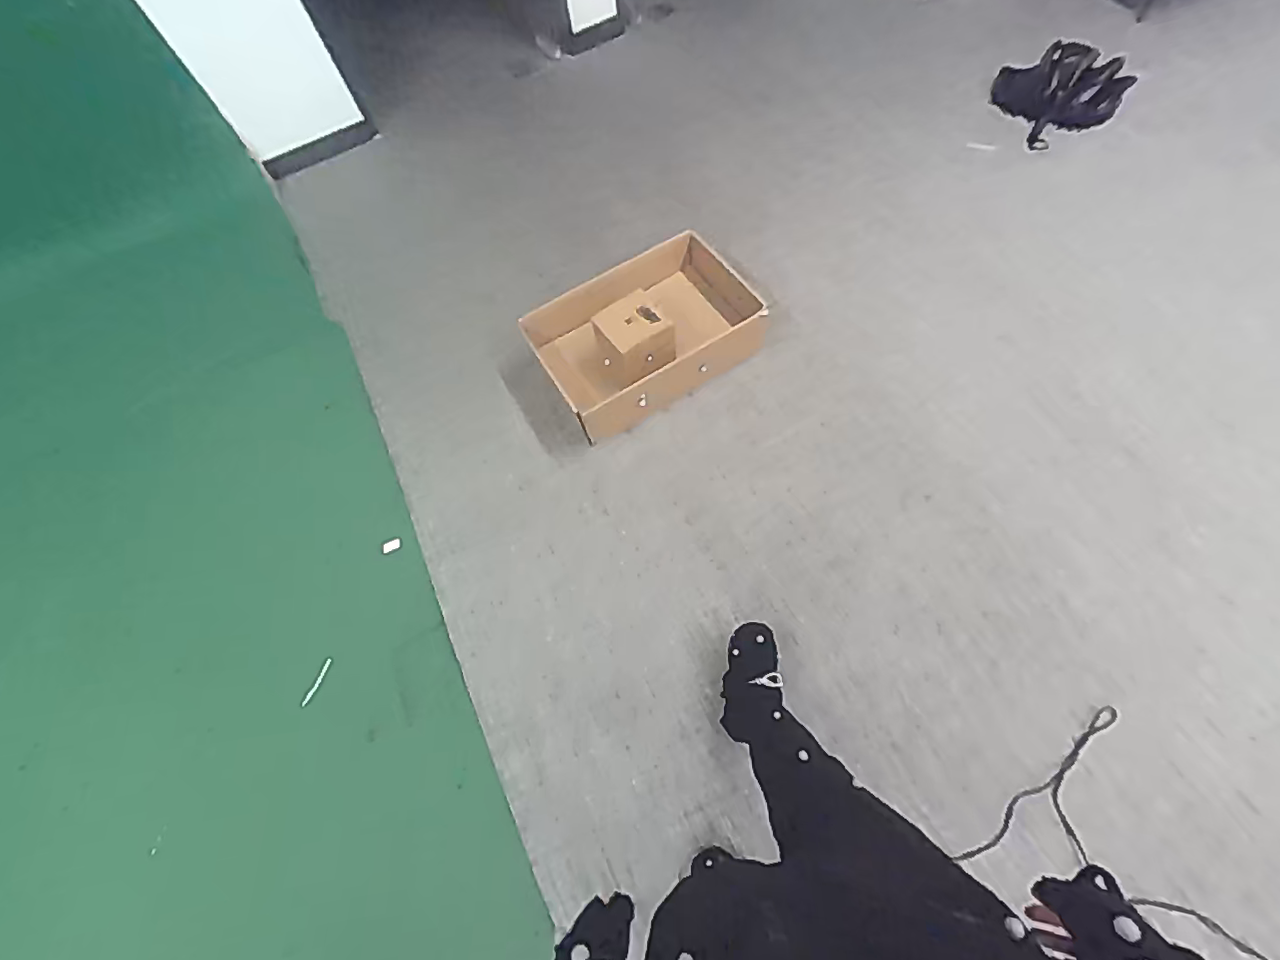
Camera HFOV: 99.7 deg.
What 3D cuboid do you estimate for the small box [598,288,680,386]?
[{"bbox_3d":[0.003,-0.409,1.561,0.179,0.176,0.168,-32,65,-8],"label":"small box"}]
